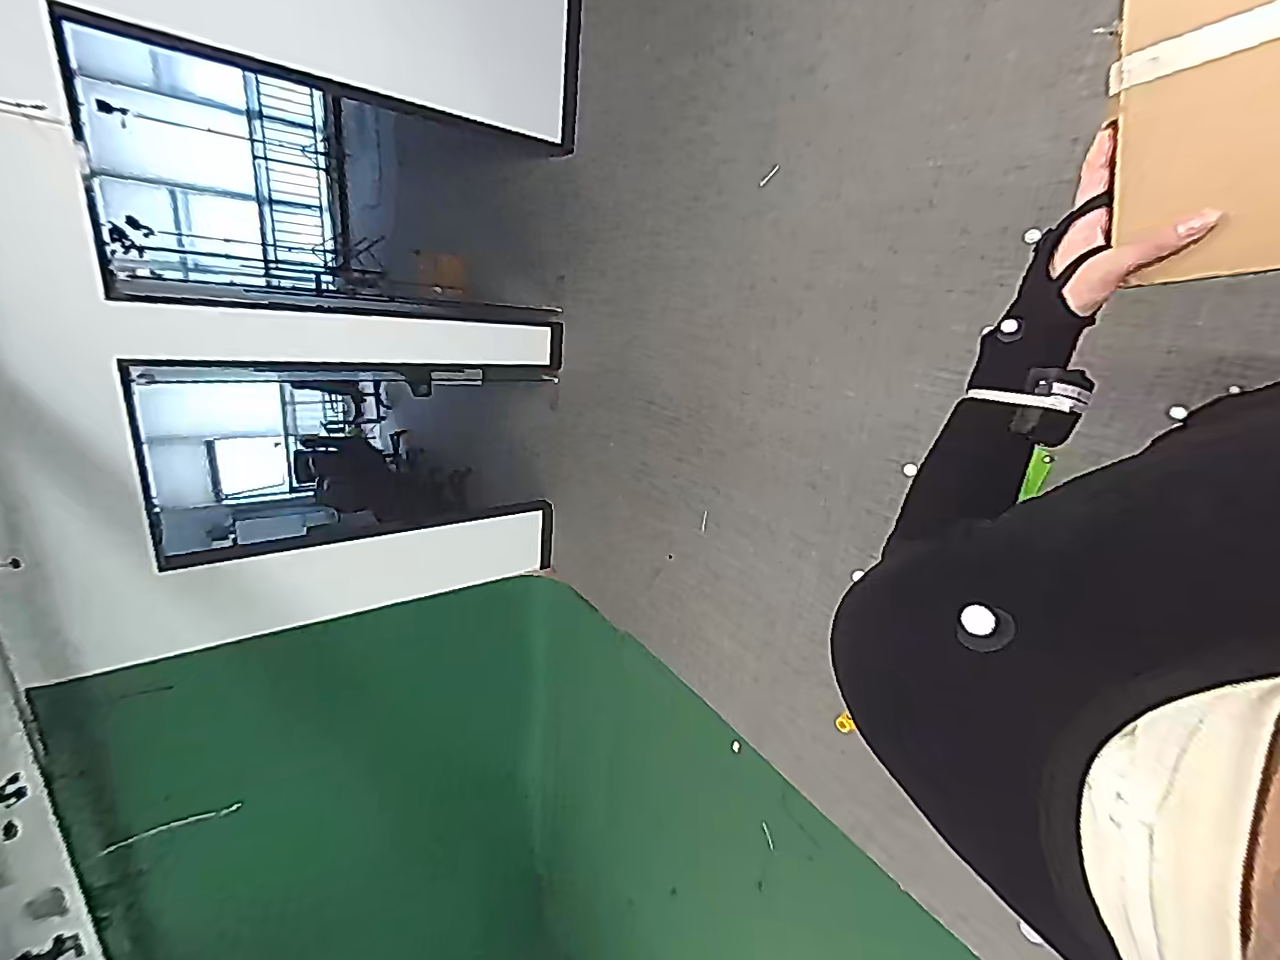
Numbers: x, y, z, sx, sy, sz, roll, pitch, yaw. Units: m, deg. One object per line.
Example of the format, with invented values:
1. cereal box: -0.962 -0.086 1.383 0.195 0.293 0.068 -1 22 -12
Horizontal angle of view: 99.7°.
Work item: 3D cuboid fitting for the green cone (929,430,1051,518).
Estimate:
1. green cone: 0.849 0.005 1.388 0.200 0.368 0.202 36 126 45
